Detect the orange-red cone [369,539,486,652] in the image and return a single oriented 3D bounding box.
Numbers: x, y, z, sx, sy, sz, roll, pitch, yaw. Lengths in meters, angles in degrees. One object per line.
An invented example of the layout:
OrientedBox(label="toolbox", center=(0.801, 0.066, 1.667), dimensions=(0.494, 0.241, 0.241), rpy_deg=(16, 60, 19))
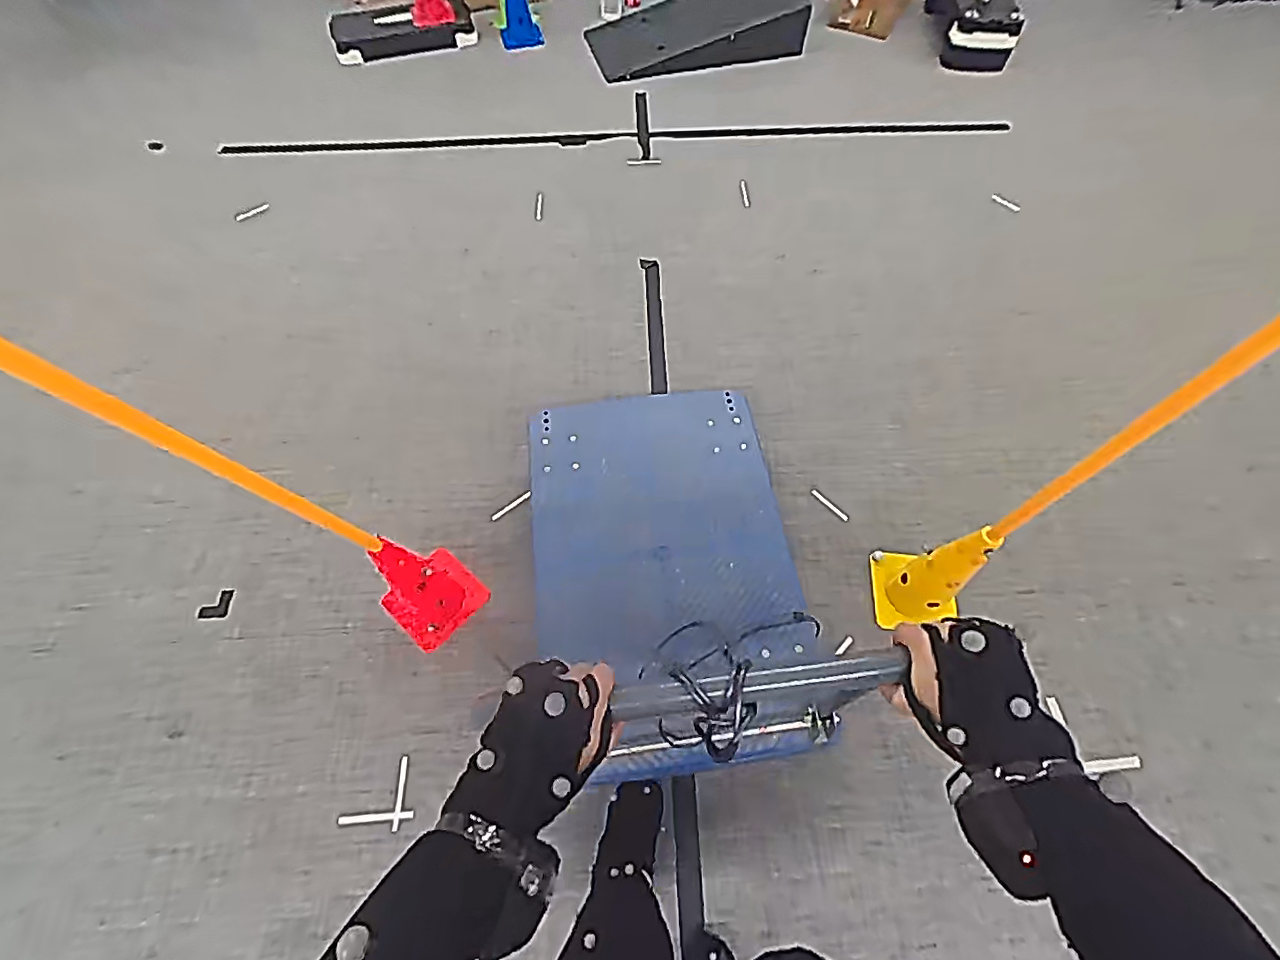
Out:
OrientedBox(label="orange-red cone", center=(-0.500, 0.212, 1.179), dimensions=(0.198, 0.360, 0.199), rpy_deg=(39, 67, 18))
